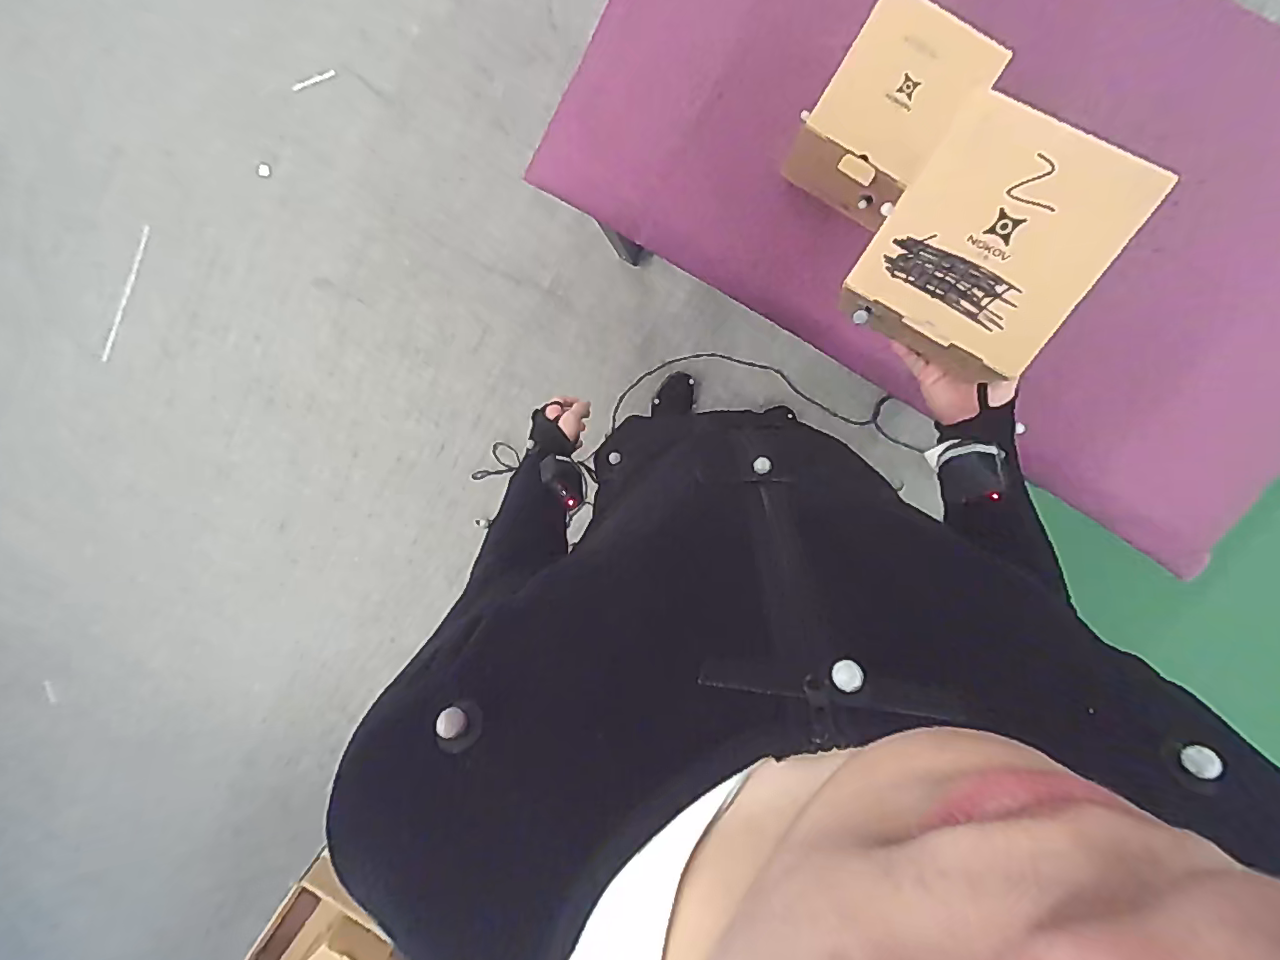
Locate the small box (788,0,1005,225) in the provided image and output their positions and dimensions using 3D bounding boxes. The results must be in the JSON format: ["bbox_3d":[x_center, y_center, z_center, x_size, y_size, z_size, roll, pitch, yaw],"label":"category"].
[{"bbox_3d":[0.312,-0.469,0.707,0.168,0.176,0.179,32,101,-1],"label":"small box"}]
